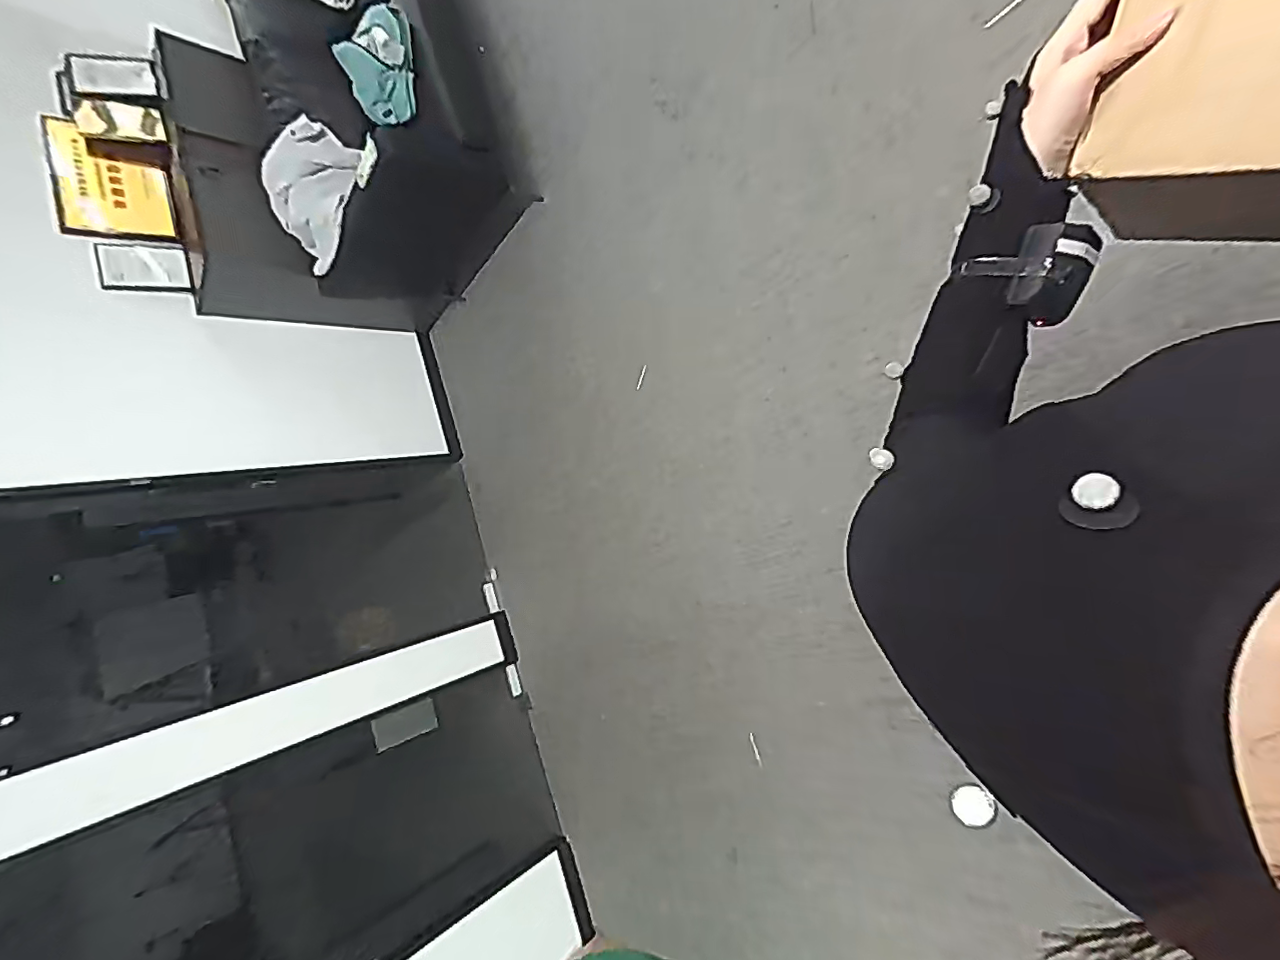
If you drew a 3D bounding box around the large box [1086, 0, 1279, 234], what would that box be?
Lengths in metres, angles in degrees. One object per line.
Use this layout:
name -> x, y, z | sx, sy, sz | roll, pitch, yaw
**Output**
large box -> 0.578, -0.343, 0.326 | 0.408, 0.320, 0.320 | 22, 115, 40
